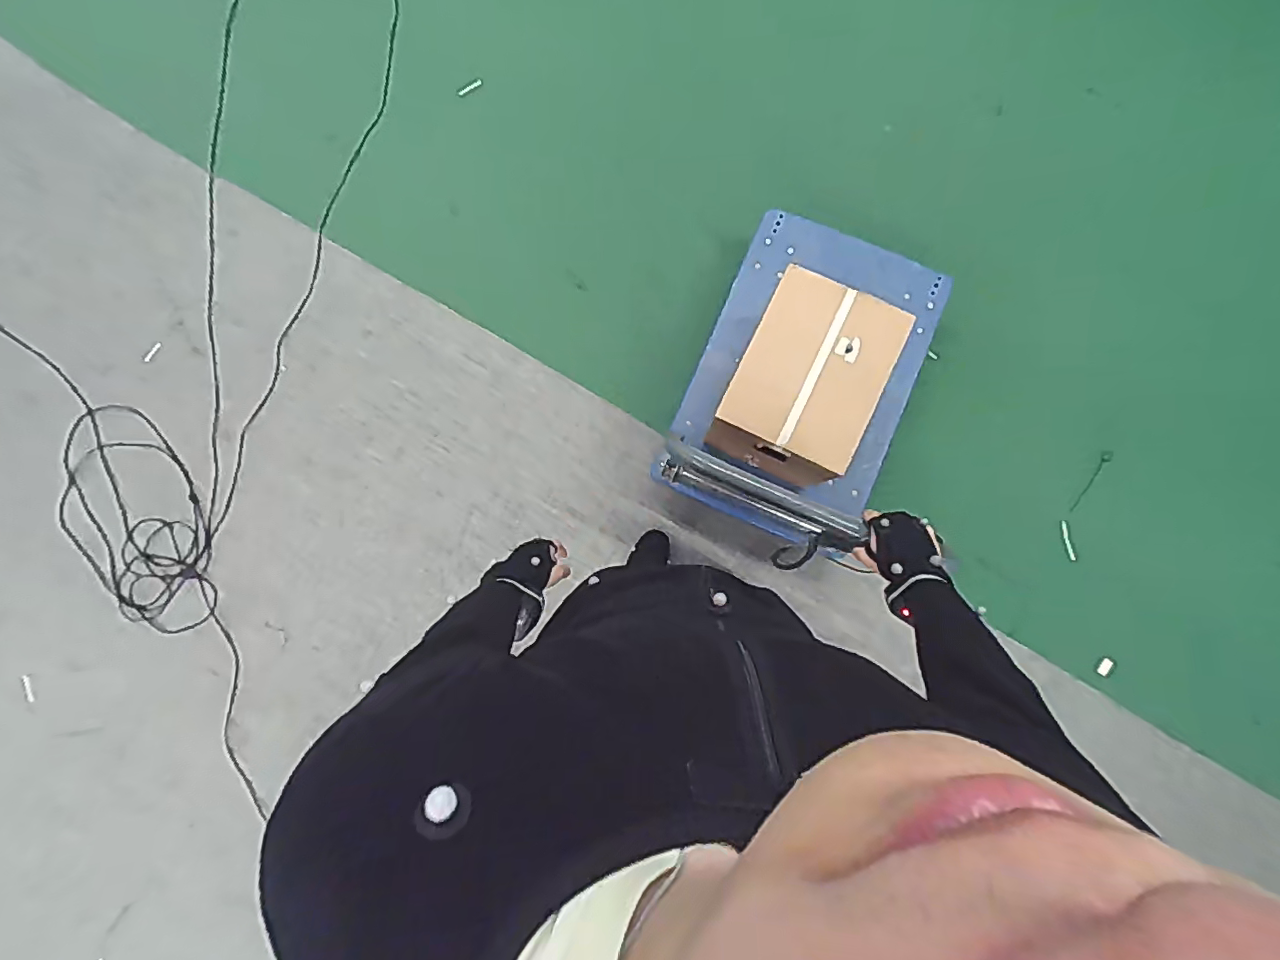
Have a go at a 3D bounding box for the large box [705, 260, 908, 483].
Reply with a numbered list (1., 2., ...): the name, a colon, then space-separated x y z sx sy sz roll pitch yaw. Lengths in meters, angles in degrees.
1. large box: 0.389 -0.247 1.356 0.320 0.320 0.408 26 85 4
